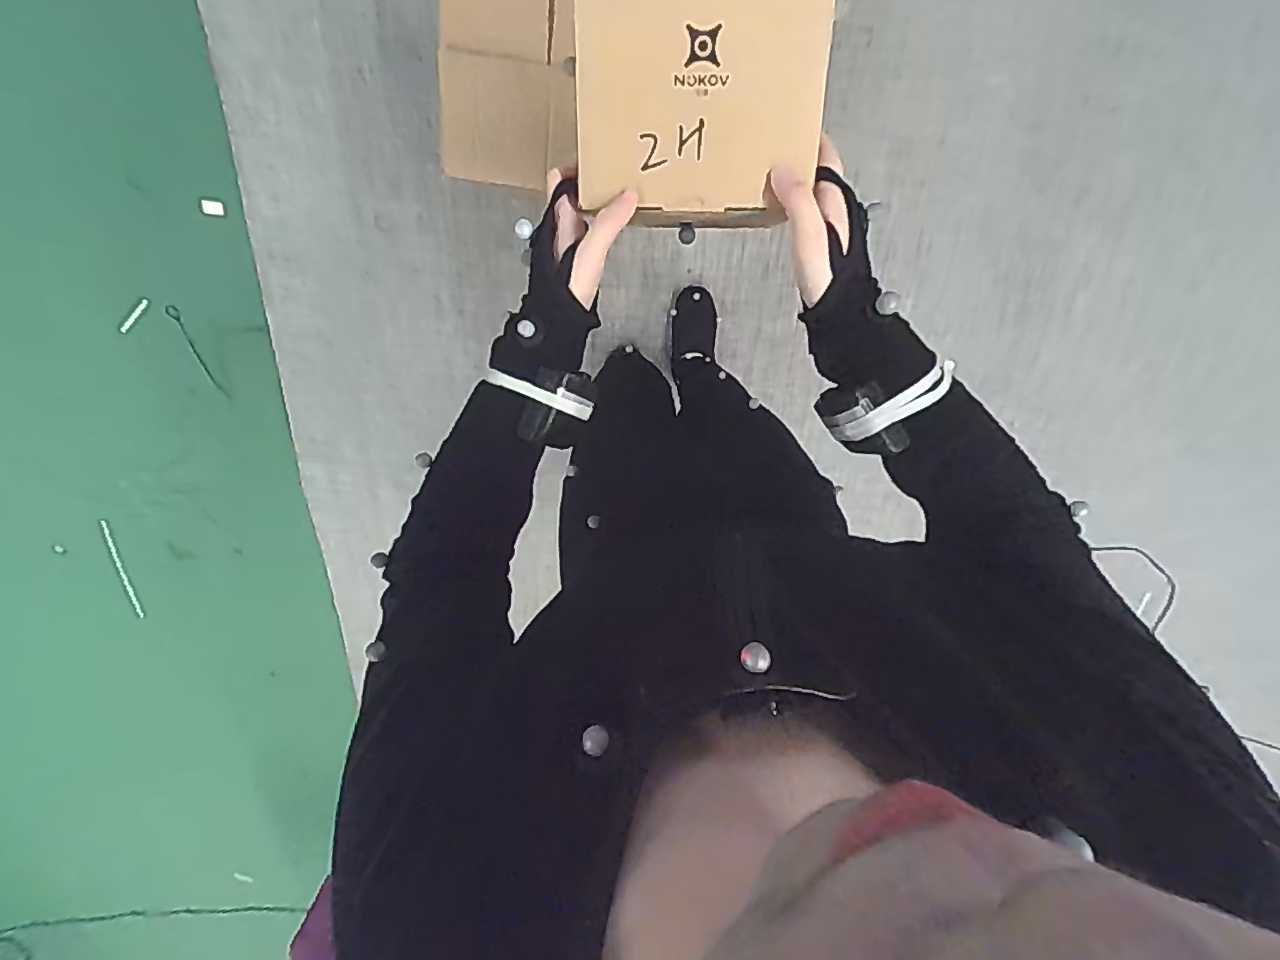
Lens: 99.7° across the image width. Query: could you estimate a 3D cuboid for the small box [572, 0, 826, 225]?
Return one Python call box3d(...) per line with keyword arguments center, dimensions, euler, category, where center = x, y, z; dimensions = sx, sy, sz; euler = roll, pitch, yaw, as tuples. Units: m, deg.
box3d(center=(0.040, -0.308, 0.431), dimensions=(0.168, 0.176, 0.179), euler=(3, 112, 3), category="small box")
